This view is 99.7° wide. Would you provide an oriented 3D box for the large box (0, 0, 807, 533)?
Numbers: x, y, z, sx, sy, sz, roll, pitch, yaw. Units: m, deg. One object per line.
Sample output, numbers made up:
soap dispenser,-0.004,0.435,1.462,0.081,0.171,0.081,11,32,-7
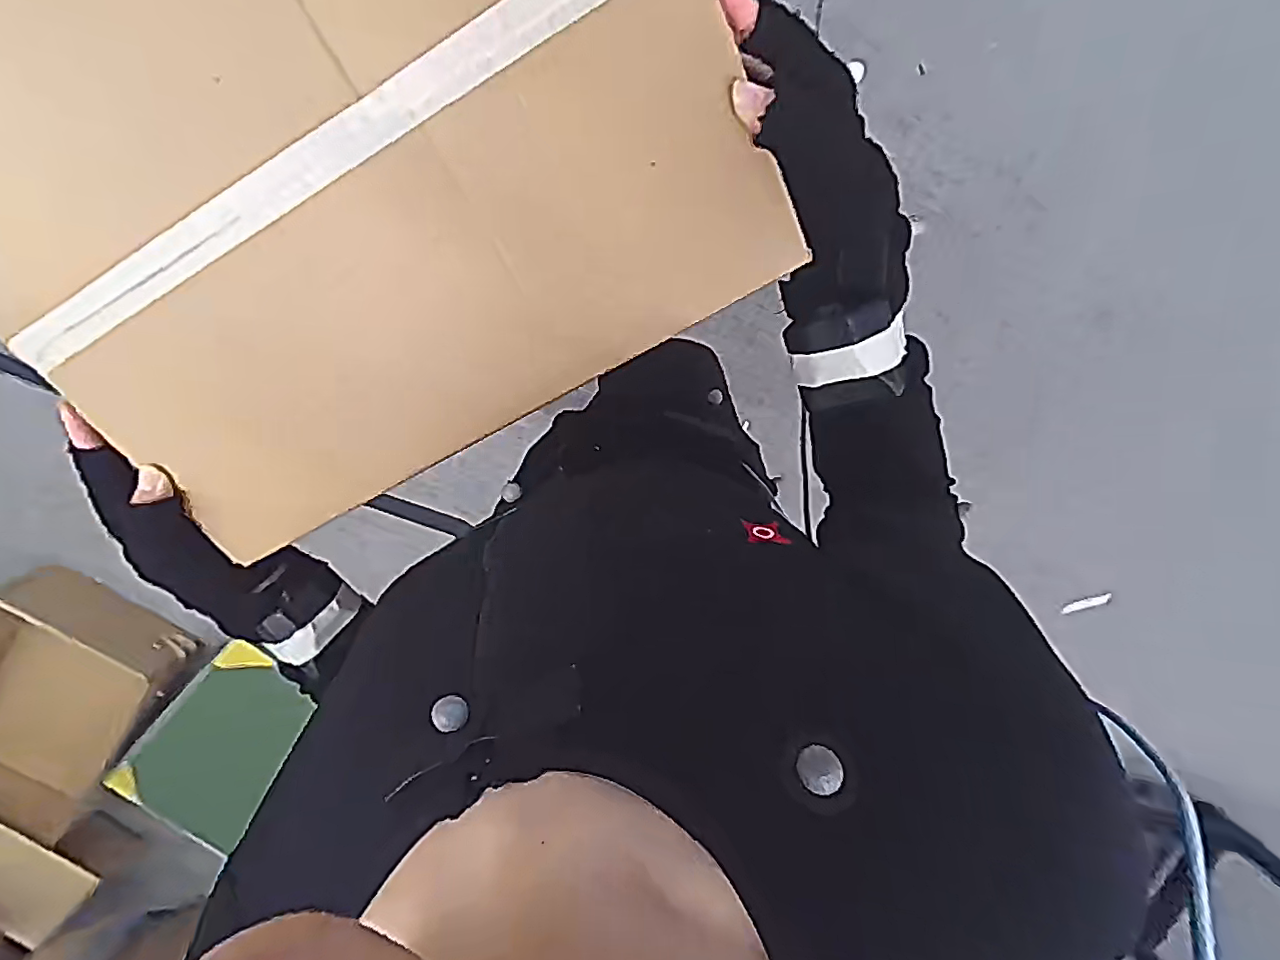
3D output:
large box,-0.154,-0.228,0.416,0.408,0.320,0.320,-26,113,8
